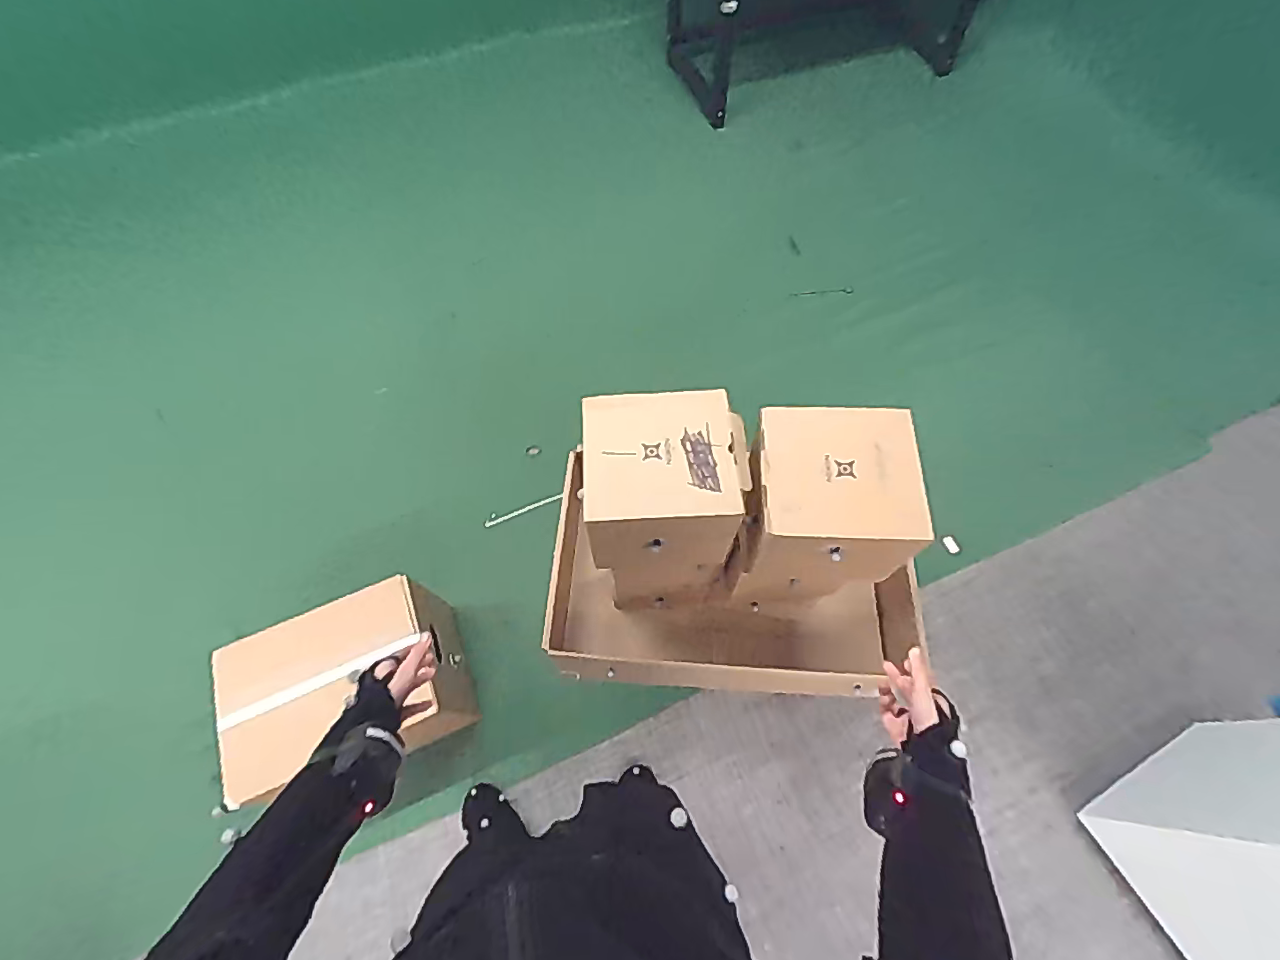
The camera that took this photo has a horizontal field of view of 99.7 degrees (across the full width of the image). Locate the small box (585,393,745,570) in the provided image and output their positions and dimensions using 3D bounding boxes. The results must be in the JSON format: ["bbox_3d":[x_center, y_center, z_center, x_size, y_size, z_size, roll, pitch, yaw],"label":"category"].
[{"bbox_3d":[0.025,0.008,0.687,0.179,0.176,0.168,-3,62,0],"label":"small box"}]
